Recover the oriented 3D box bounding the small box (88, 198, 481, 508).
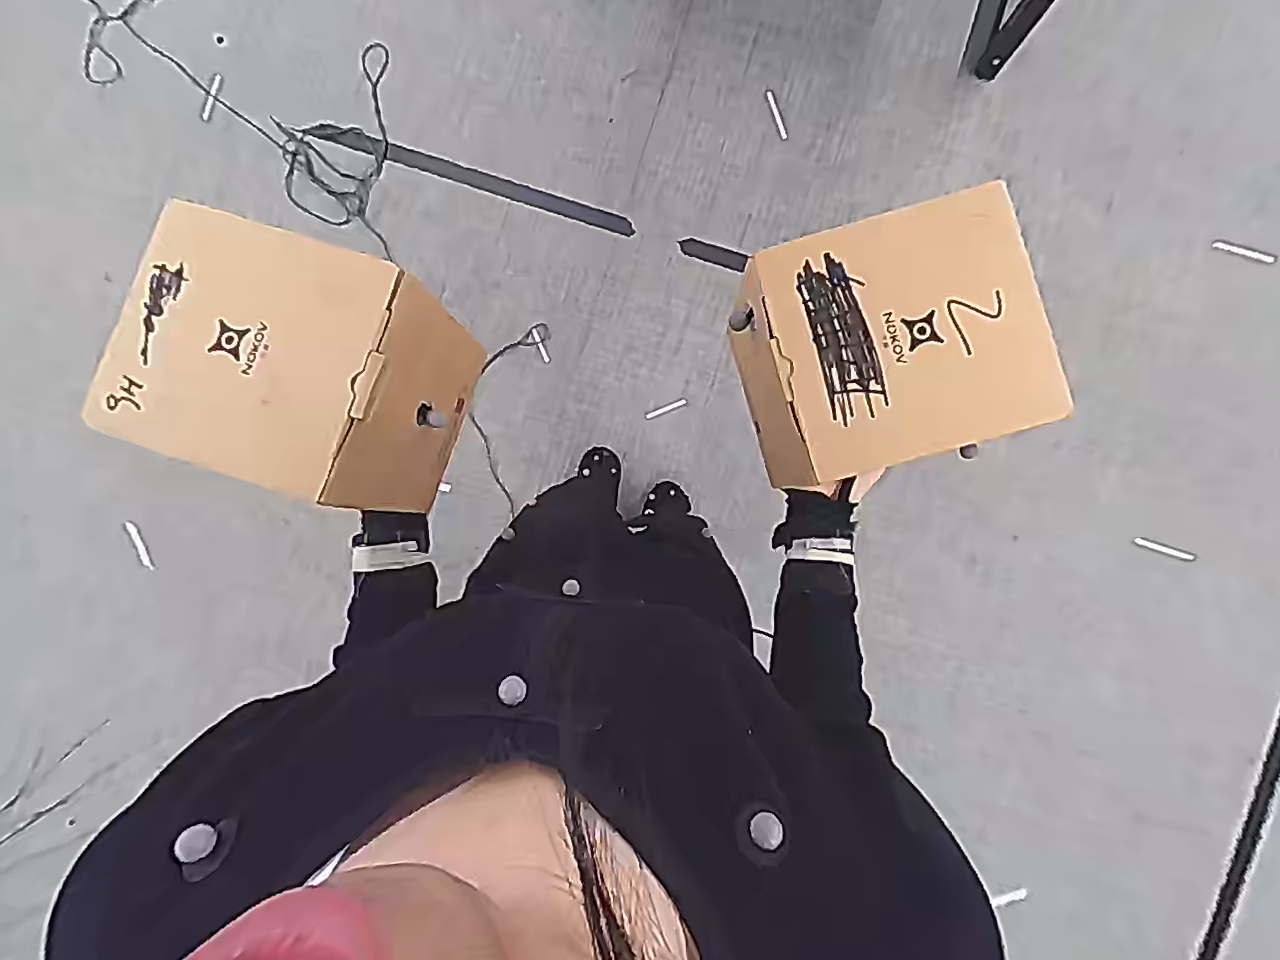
[{"bbox_3d":[-0.250,-0.080,0.433,0.179,0.176,0.168,18,86,3],"label":"small box"}]
